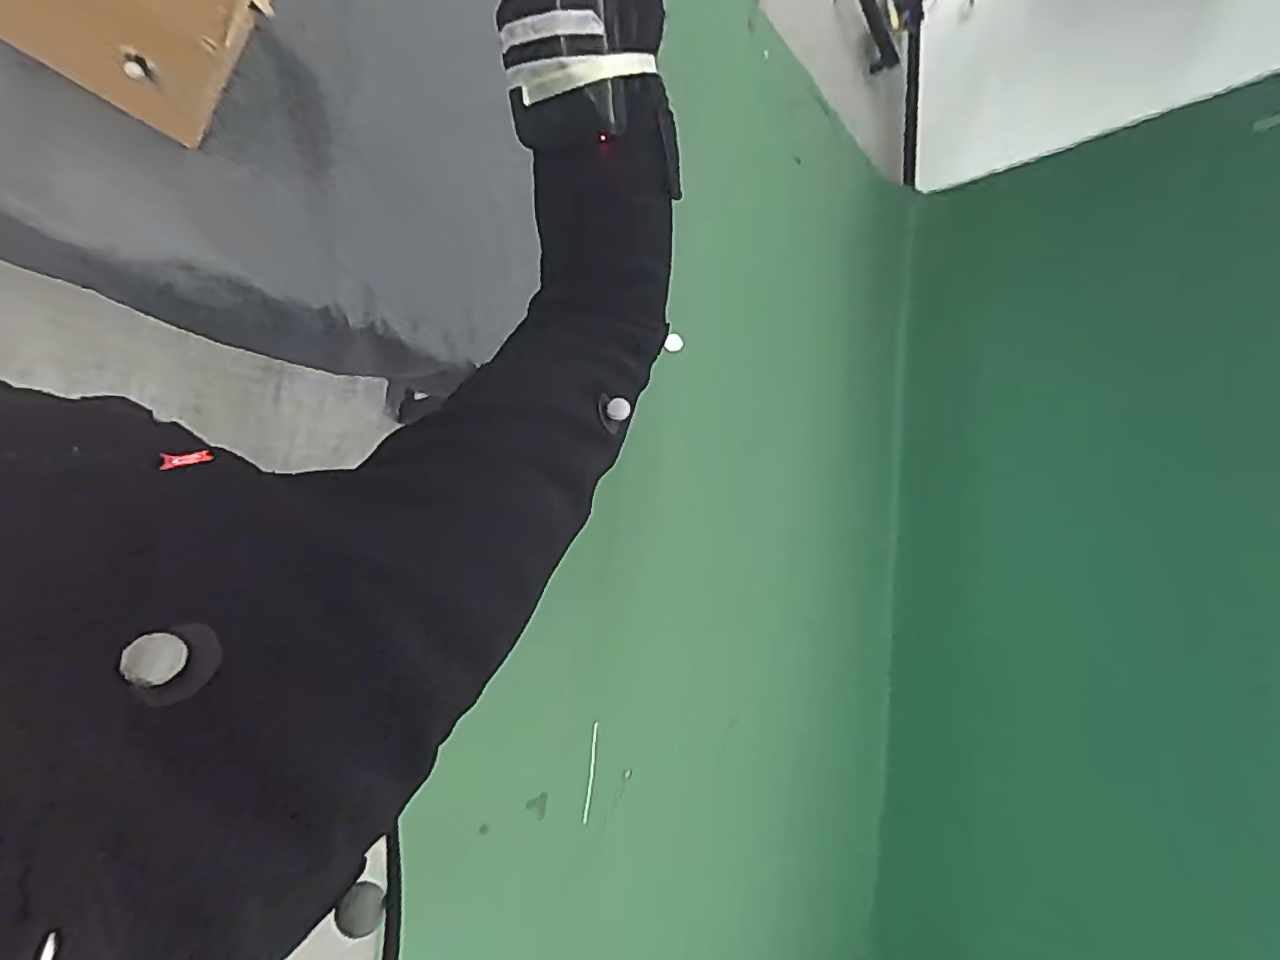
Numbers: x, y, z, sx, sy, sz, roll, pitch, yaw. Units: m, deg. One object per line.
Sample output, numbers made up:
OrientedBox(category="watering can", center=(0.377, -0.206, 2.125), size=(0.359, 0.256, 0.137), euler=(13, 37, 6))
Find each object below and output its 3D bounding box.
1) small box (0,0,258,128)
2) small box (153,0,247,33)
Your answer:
OrientedBox(category="small box", center=(-0.421, -0.426, 0.430), size=(0.179, 0.176, 0.168), euler=(23, 72, -42))
OrientedBox(category="small box", center=(-0.305, -0.433, 0.316), size=(0.179, 0.176, 0.168), euler=(23, 72, -43))
